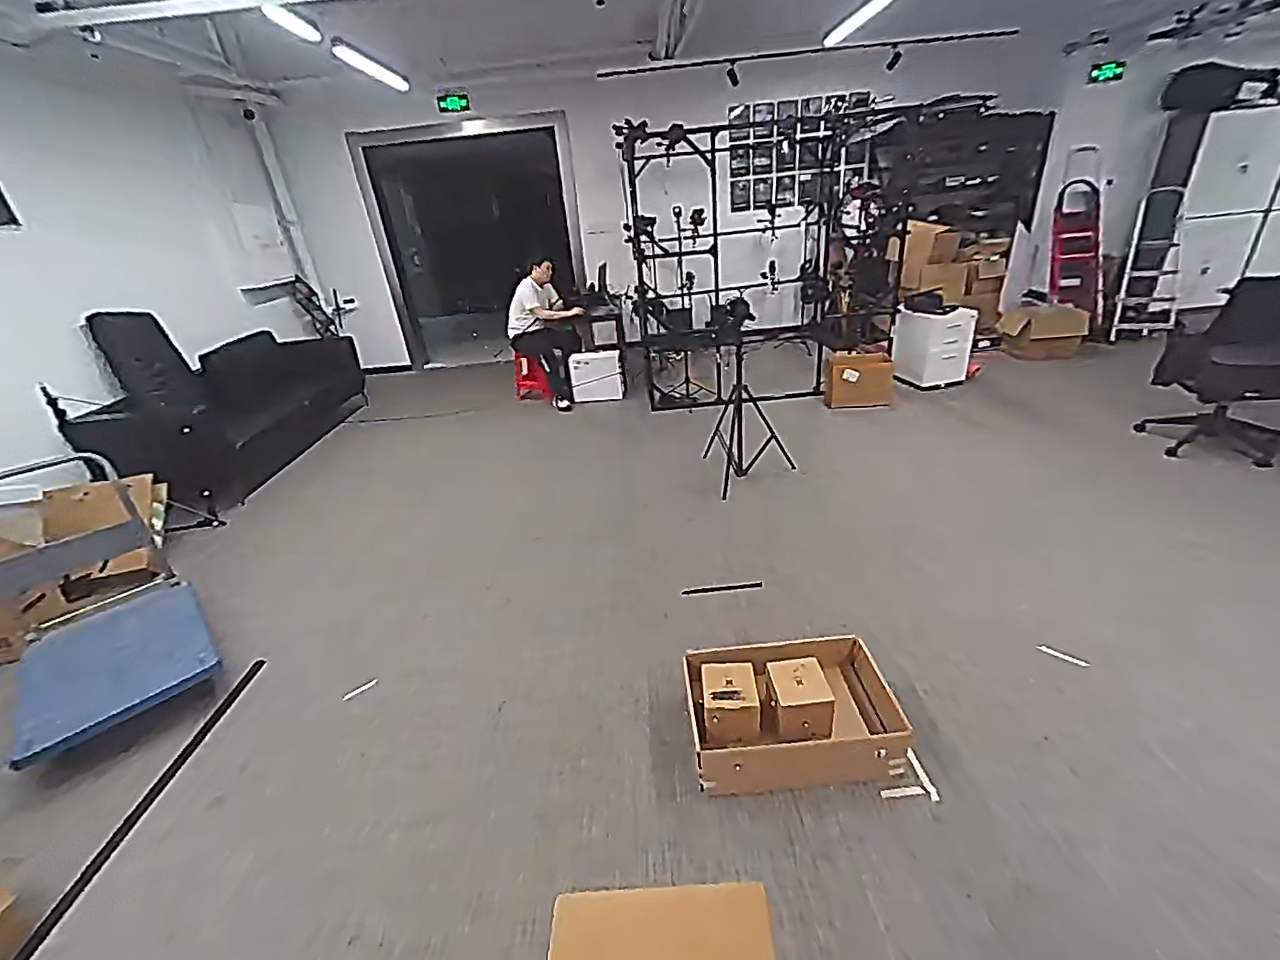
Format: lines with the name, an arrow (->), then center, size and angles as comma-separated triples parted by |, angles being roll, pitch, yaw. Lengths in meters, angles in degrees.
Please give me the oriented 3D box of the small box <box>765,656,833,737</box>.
small box -> 0.502, 0.692, 1.718 | 0.168, 0.176, 0.179 | -6, 27, -1
